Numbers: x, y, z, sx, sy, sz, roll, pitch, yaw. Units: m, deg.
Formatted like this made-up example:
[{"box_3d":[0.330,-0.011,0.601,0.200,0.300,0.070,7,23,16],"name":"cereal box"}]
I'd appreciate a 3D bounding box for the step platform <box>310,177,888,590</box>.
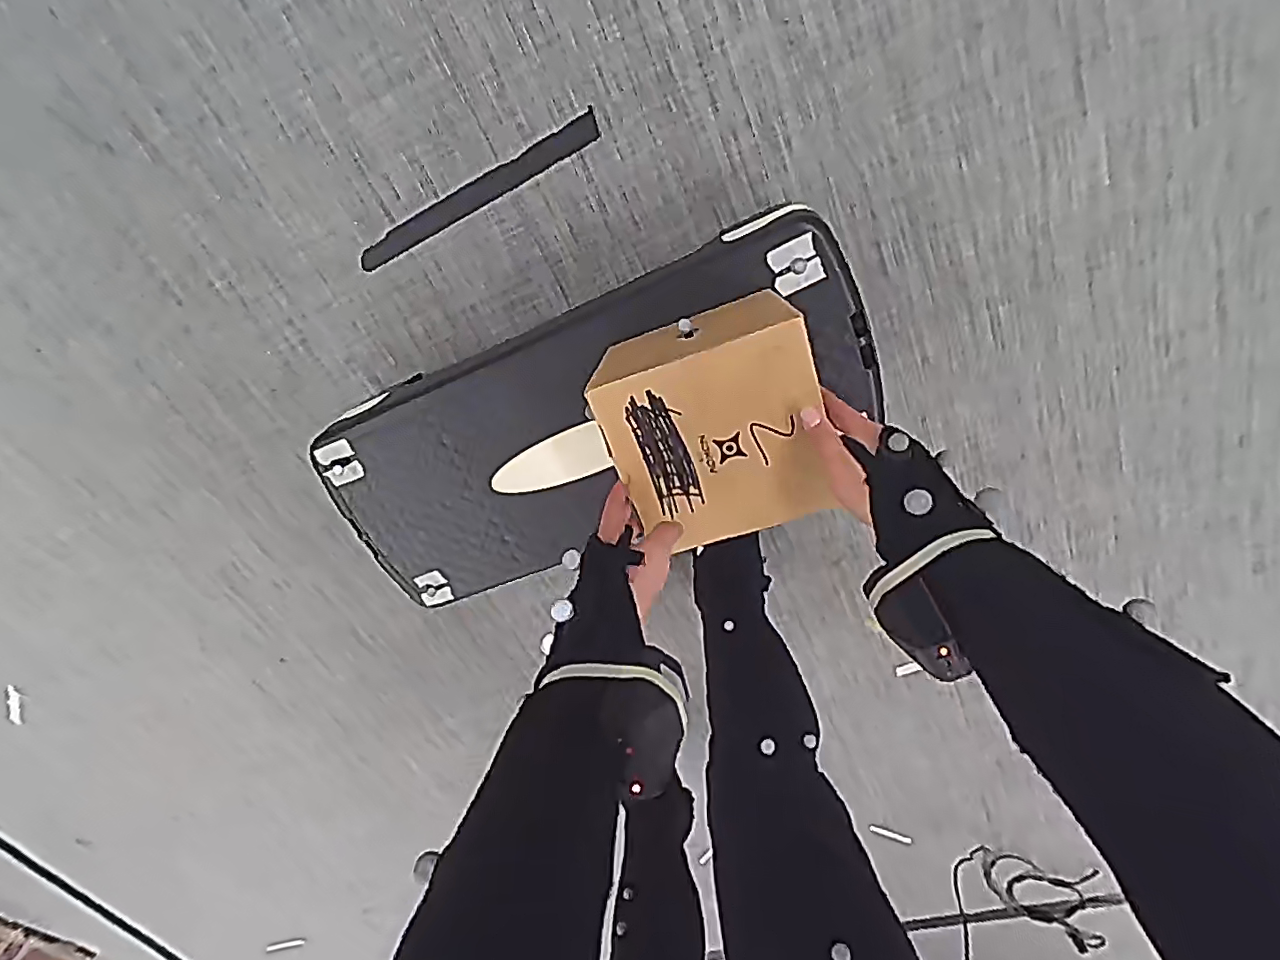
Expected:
[{"box_3d":[-0.057,-0.099,0.695,0.684,0.204,0.286,-20,112,14],"name":"step platform"}]
